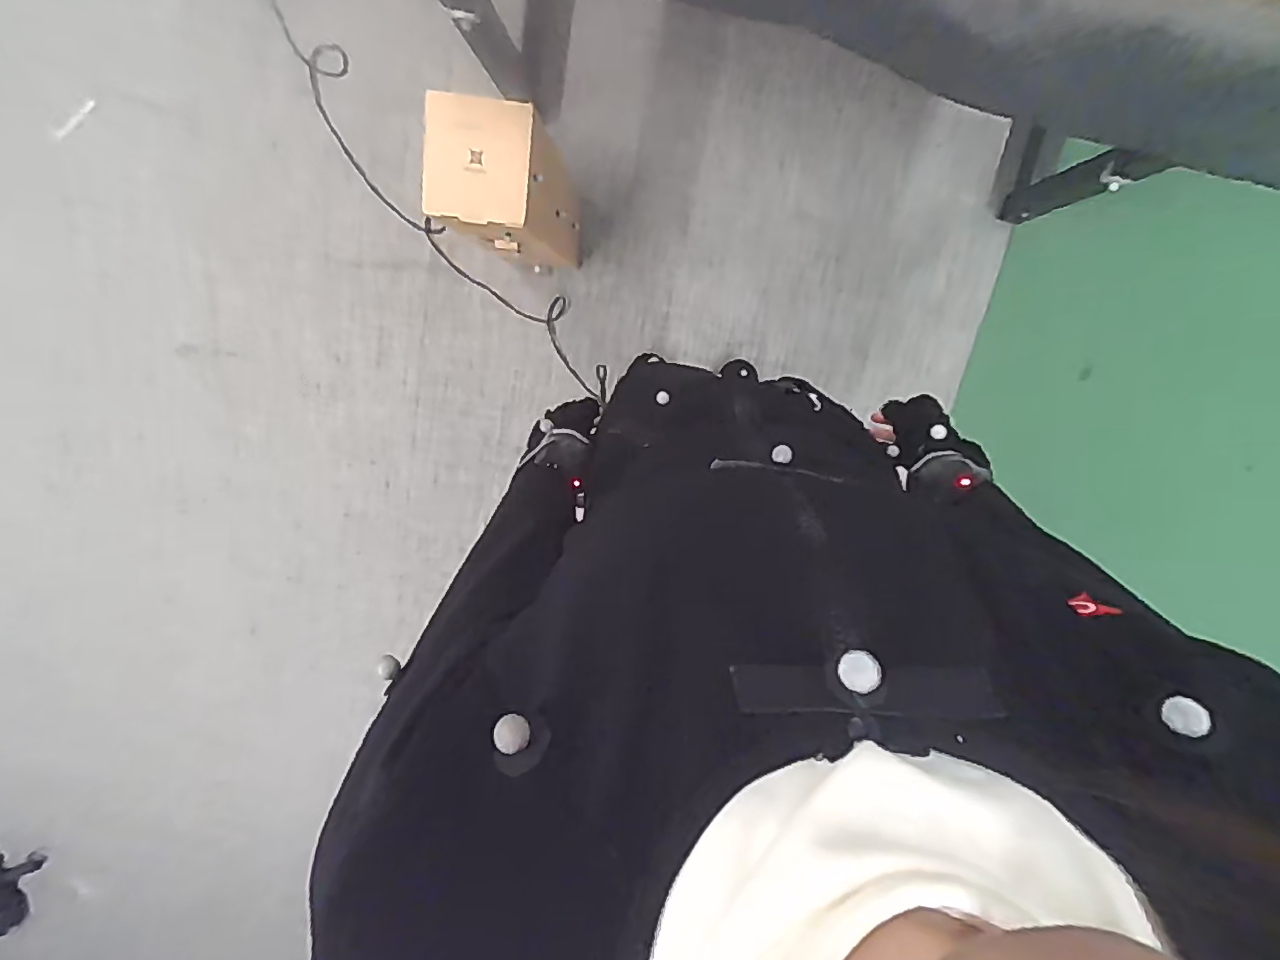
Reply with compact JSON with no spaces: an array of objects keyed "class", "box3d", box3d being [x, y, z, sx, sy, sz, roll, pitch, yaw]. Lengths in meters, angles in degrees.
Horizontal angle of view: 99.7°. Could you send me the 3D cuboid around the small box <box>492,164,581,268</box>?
[{"class":"small box","box3d":[-0.229,-0.589,1.225,0.168,0.176,0.179,5,105,2]}]
